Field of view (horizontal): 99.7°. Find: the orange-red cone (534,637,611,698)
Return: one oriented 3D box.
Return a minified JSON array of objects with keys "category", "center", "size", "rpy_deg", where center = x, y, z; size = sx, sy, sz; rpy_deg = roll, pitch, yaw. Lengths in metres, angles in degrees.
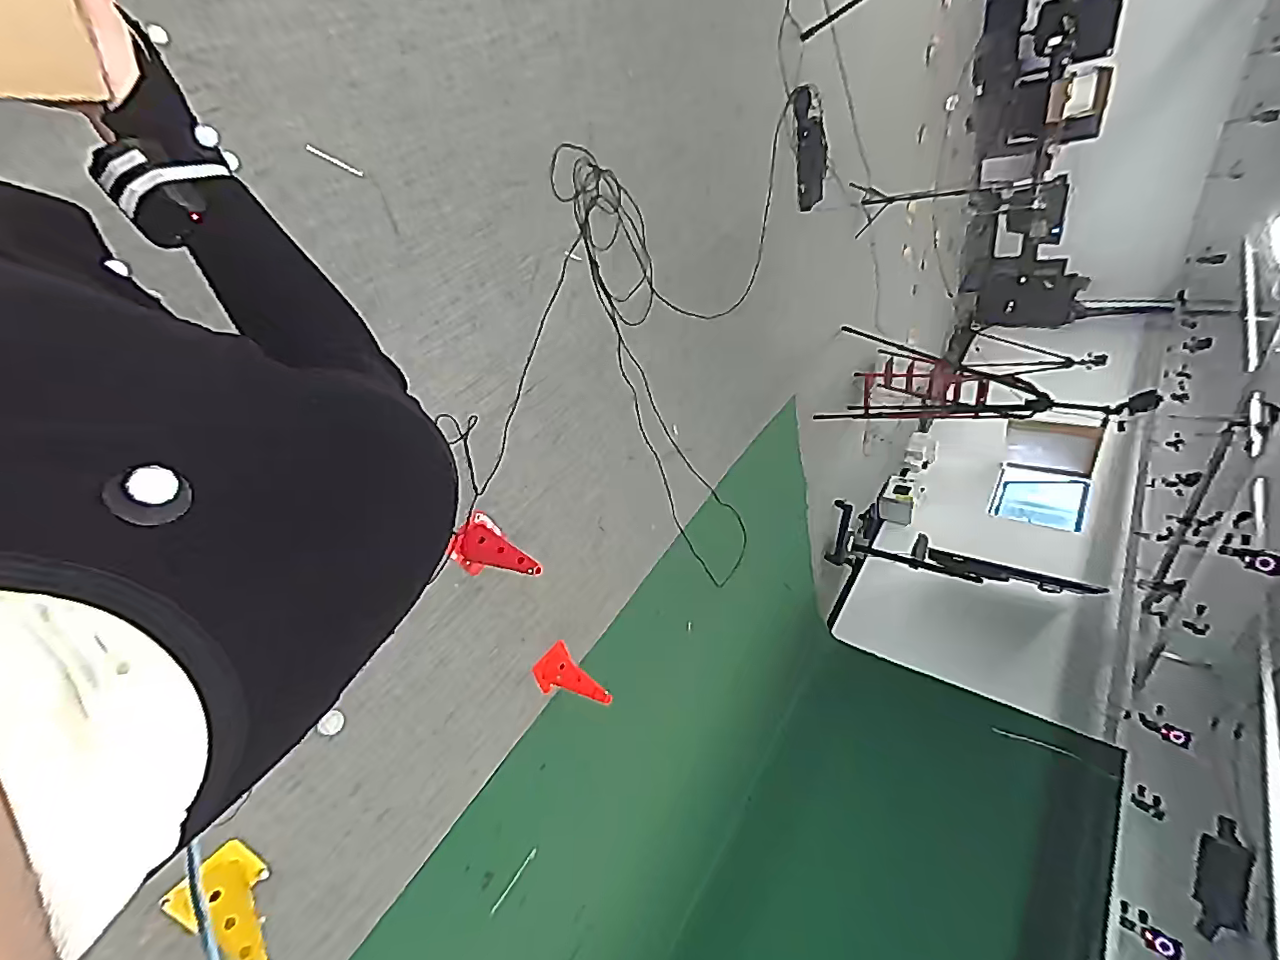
[{"category":"orange-red cone","center":[-0.275,0.887,2.433],"size":[0.199,0.360,0.198],"rpy_deg":[-42,133,-38]}]
